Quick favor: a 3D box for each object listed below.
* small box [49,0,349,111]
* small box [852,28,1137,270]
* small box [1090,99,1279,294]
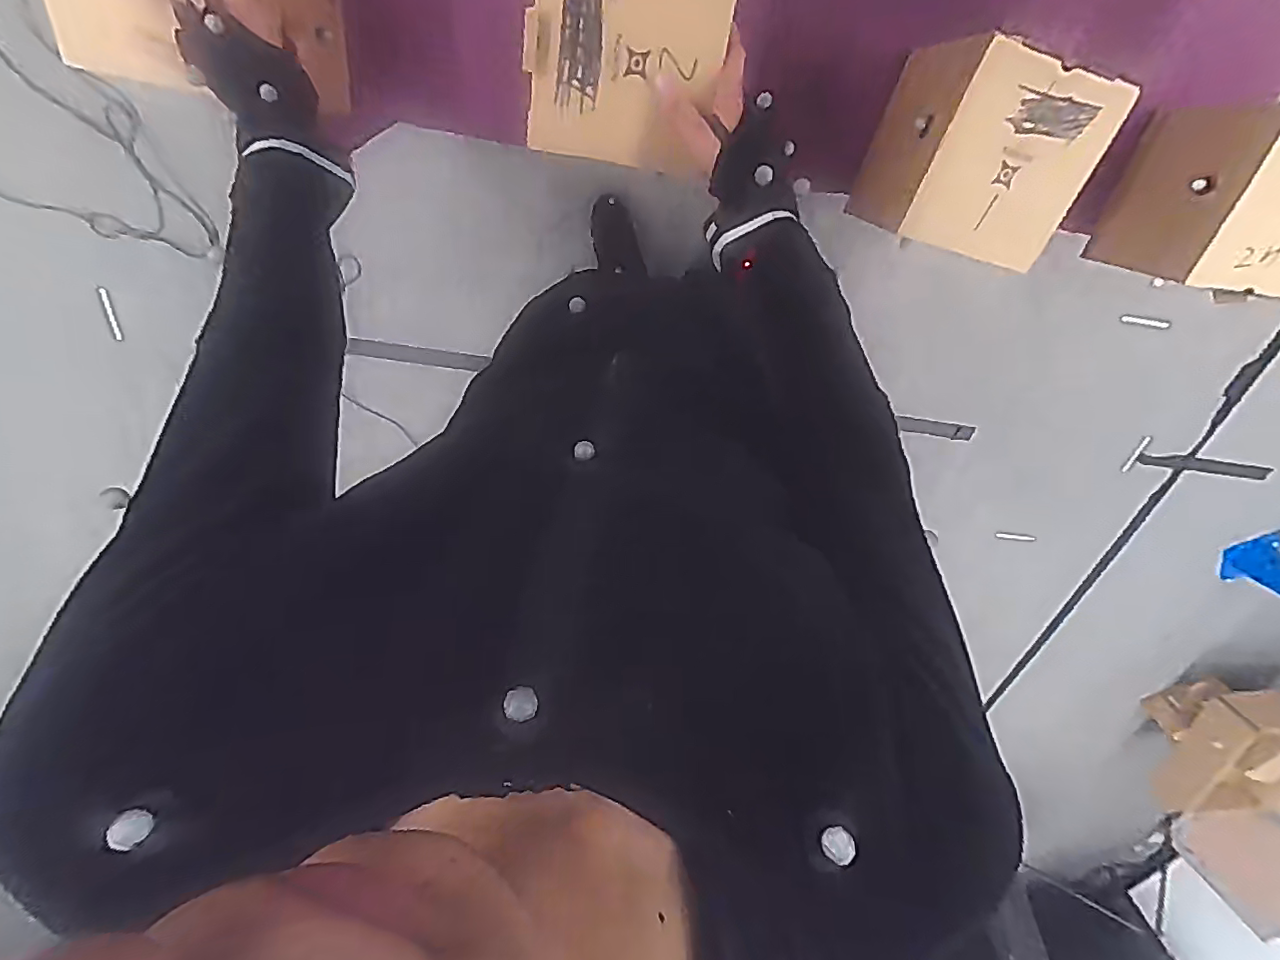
[{"bbox_3d":[-0.404,-0.461,0.509,0.179,0.176,0.168,7,122,-8],"label":"small box"},{"bbox_3d":[0.368,-0.363,0.606,0.168,0.176,0.179,11,123,-9],"label":"small box"},{"bbox_3d":[0.698,-0.333,0.637,0.168,0.176,0.179,6,123,-5],"label":"small box"}]
